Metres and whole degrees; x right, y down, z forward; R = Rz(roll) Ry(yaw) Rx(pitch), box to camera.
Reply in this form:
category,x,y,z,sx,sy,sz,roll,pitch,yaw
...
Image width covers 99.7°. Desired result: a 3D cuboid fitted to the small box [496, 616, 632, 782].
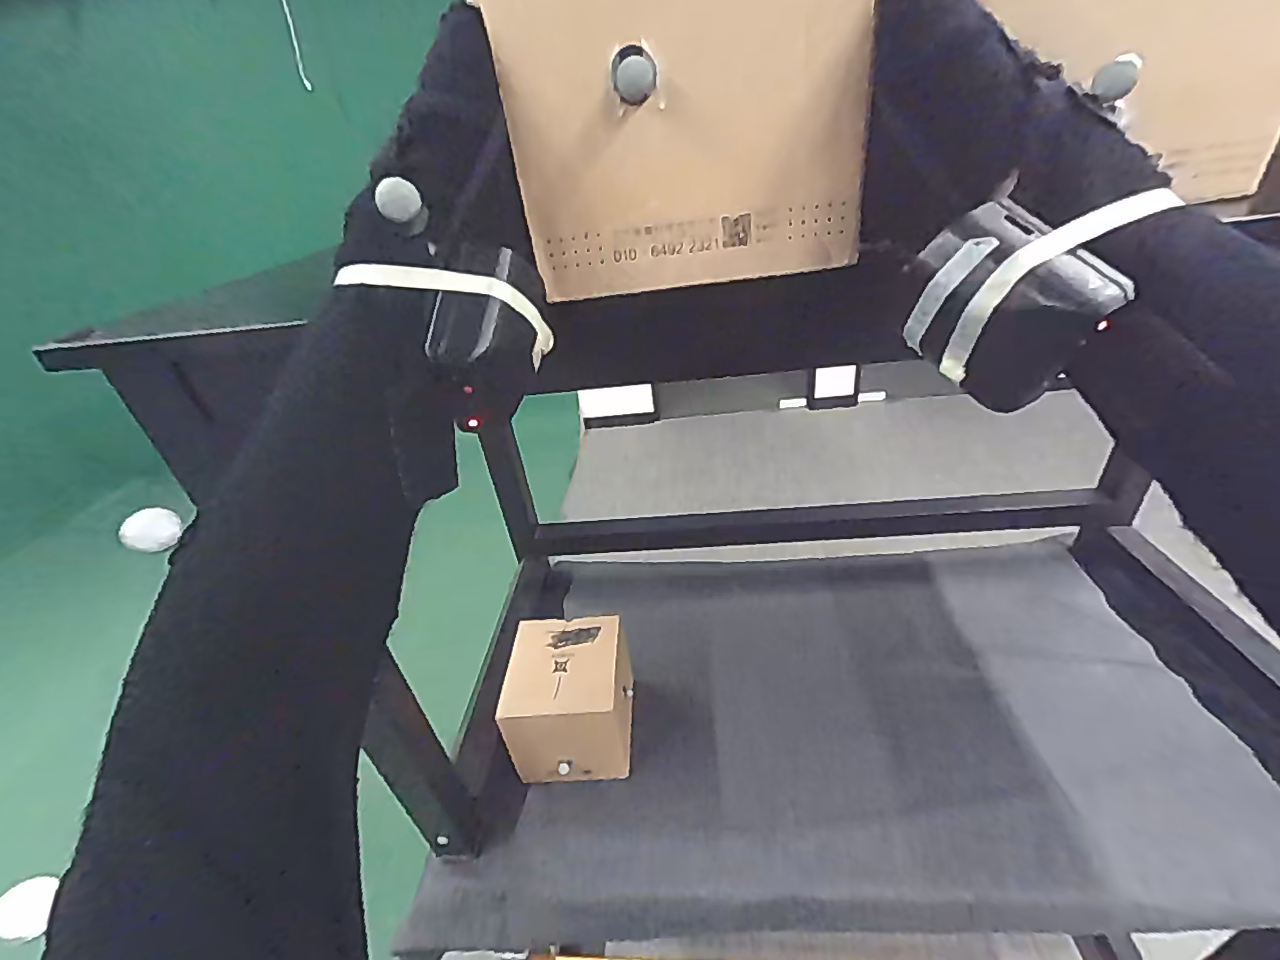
category,x,y,z,sx,sy,sz,roll,pitch,yaw
small box,-0.105,0.337,0.839,0.168,0.176,0.179,-5,32,5

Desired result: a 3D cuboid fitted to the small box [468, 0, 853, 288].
category,x,y,z,sx,sy,sz,roll,pitch,yaw
small box,0.016,-0.216,0.310,0.168,0.176,0.179,-7,31,4
